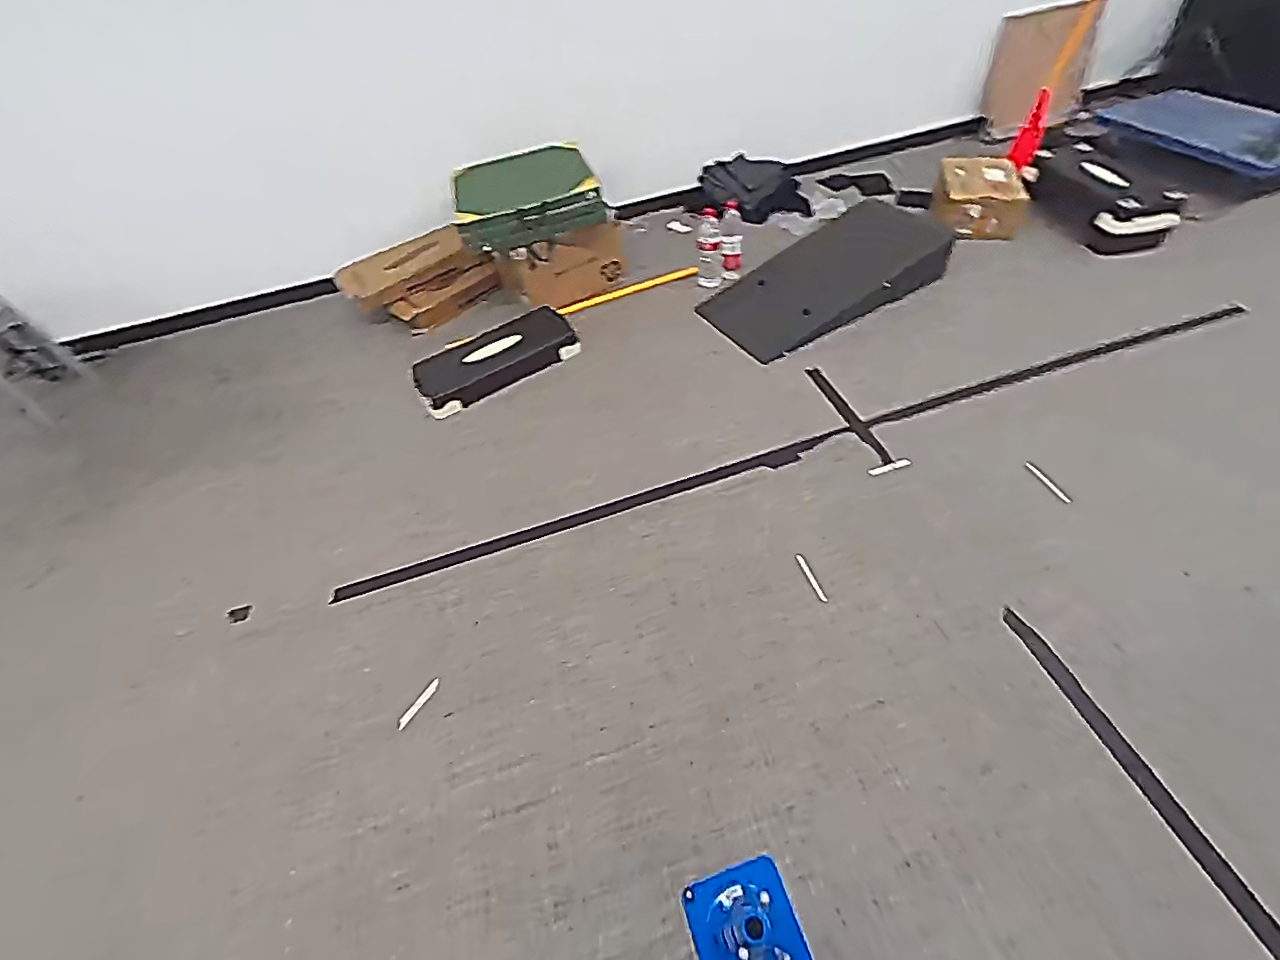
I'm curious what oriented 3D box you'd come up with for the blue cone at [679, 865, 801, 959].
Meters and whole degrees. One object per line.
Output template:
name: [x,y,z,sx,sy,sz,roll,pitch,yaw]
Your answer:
blue cone: [0.168,0.751,0.894,0.192,0.380,0.193,-17,49,-5]
